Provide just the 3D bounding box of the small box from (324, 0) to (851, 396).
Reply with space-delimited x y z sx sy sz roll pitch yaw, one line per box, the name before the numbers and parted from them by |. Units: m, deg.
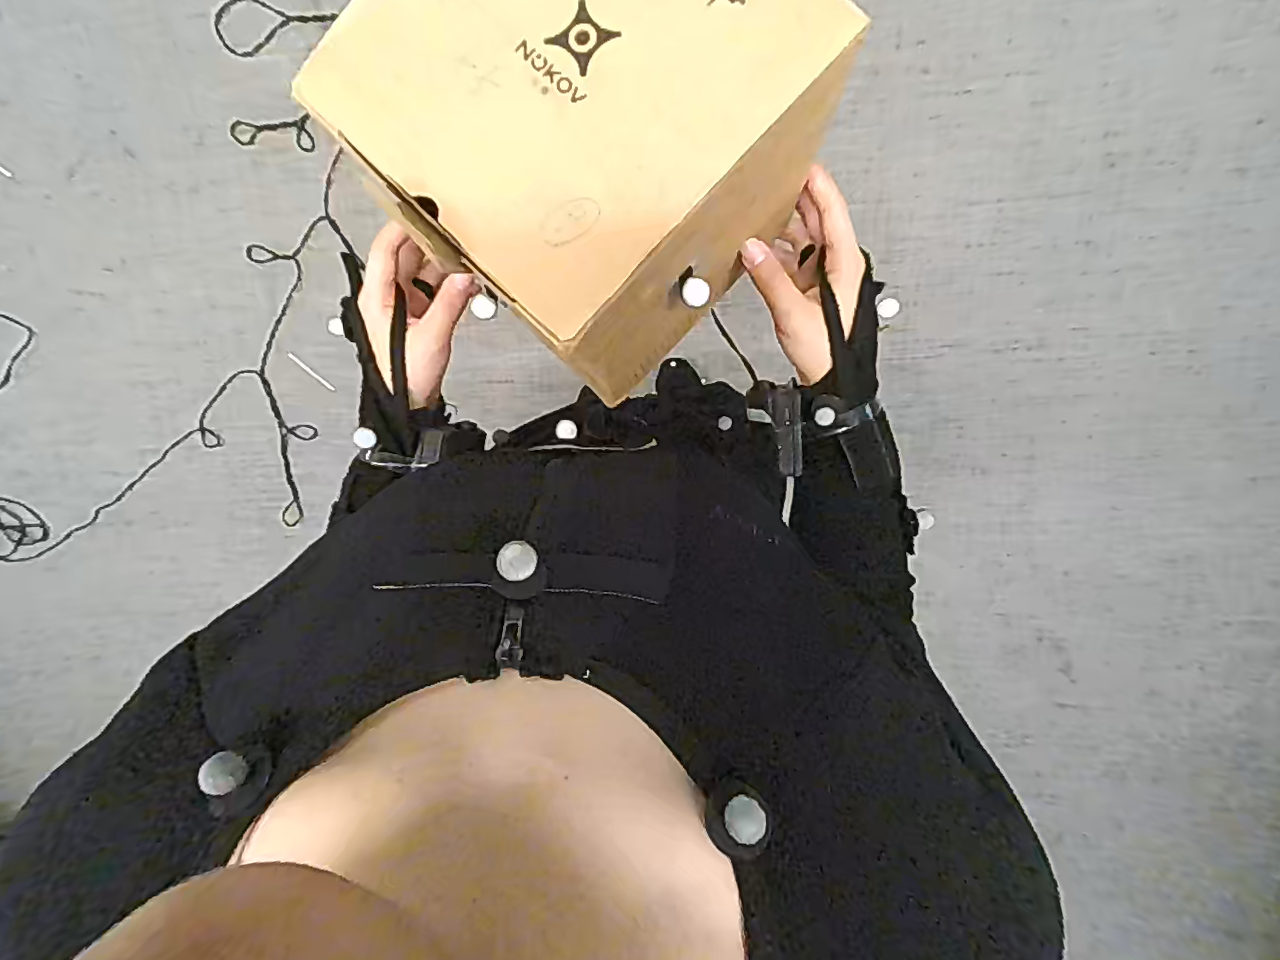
small box | -0.020 -0.170 0.311 0.168 0.176 0.179 43 93 3
